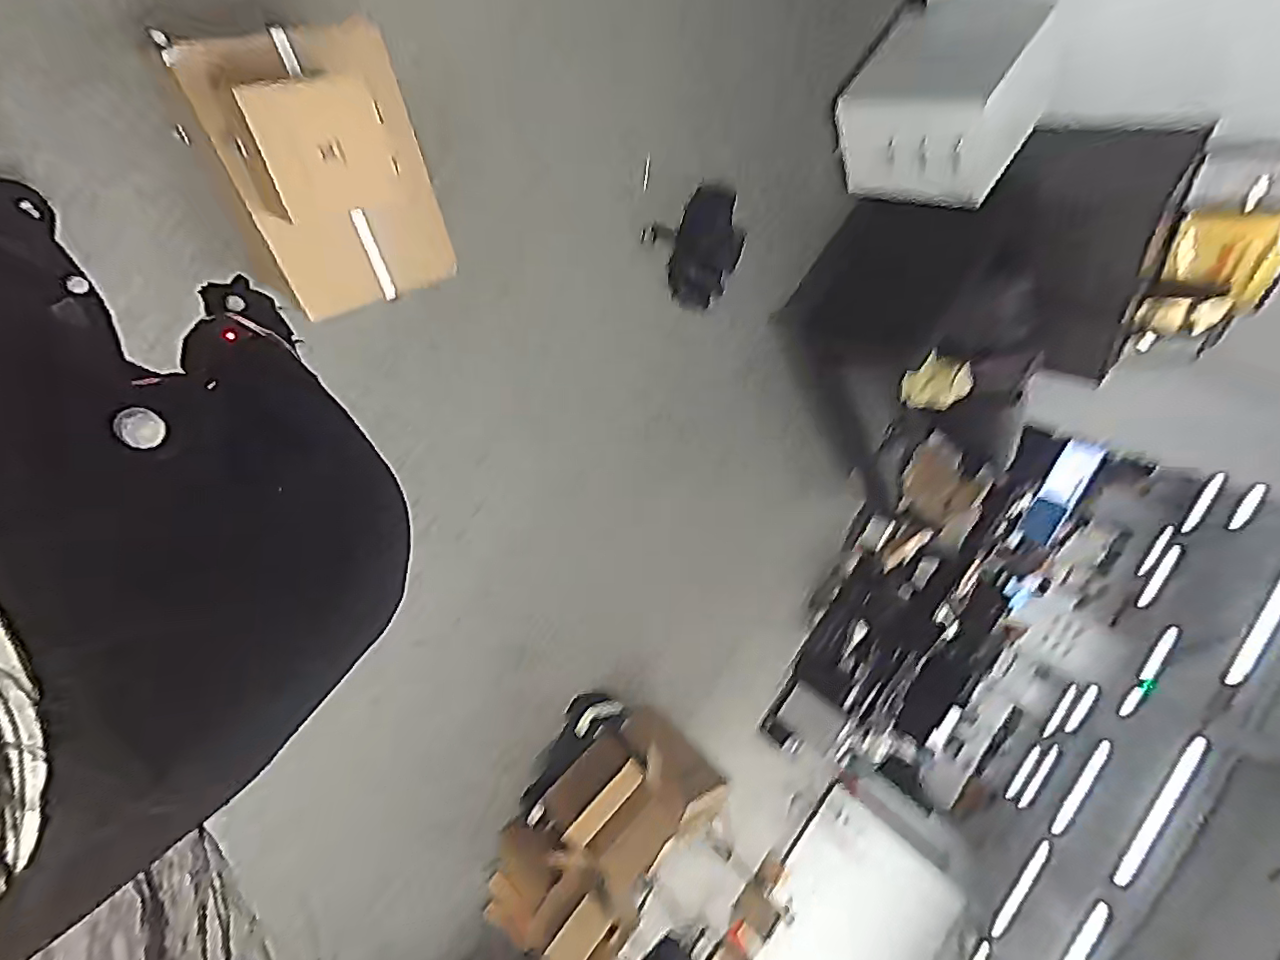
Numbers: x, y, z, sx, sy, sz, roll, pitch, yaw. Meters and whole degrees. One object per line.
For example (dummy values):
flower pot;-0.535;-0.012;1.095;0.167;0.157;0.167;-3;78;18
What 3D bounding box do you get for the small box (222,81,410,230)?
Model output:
small box;-0.488;-0.496;0.820;0.179;0.176;0.168;-31;133;-27
